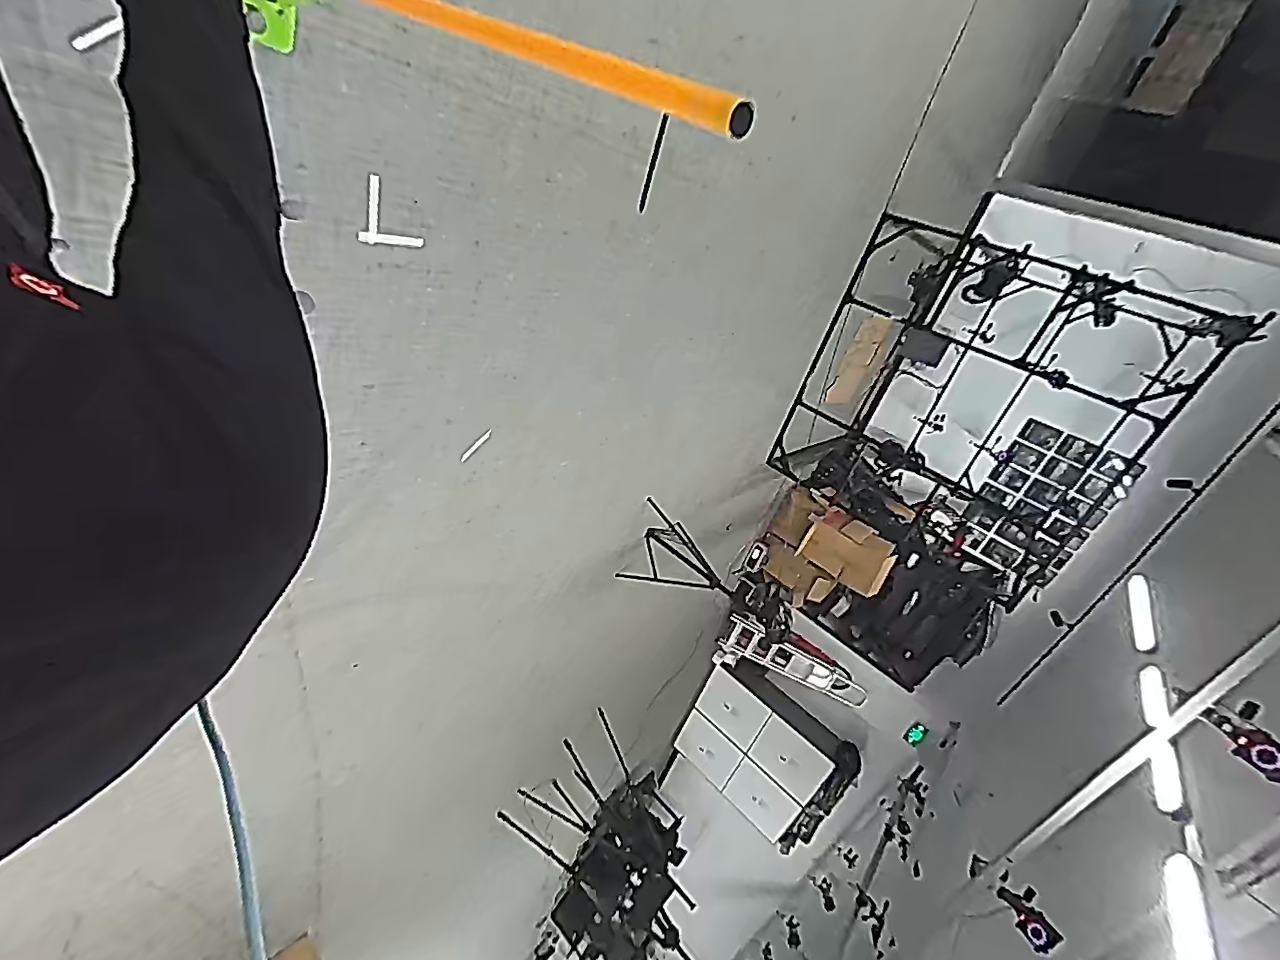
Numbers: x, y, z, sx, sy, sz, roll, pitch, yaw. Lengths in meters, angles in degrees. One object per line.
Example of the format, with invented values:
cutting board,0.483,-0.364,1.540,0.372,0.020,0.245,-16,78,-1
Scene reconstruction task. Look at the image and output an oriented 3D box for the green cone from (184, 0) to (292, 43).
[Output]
green cone,-0.602,-0.848,0.887,0.202,0.368,0.200,-14,132,-53
